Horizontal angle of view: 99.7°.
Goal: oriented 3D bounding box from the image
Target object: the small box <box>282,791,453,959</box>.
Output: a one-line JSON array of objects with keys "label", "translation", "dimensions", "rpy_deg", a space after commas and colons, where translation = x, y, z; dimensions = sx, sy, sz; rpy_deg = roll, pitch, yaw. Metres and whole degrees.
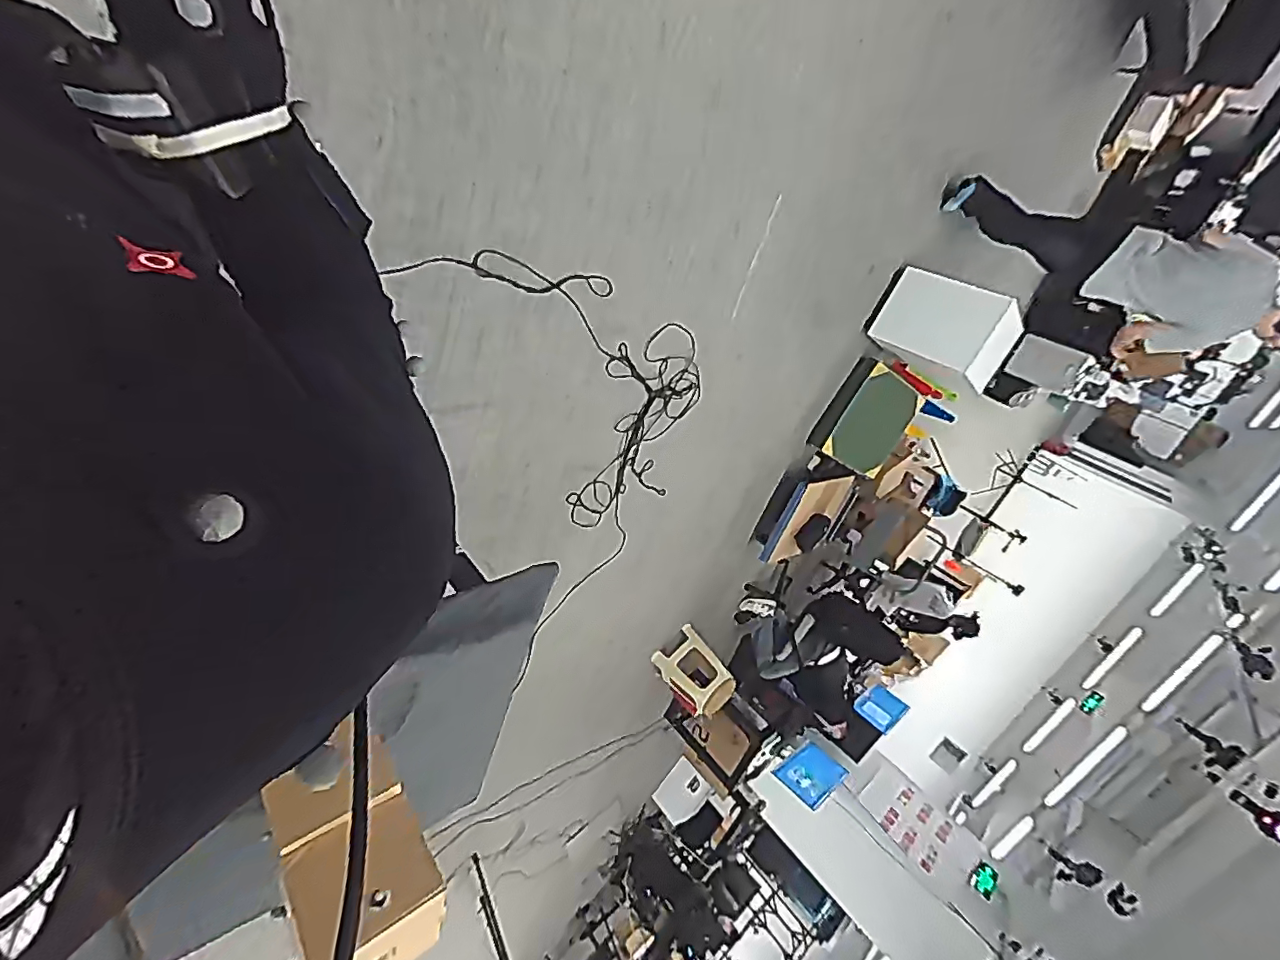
[{"label": "small box", "translation": [-0.401, 0.607, 0.796], "dimensions": [0.179, 0.176, 0.168], "rpy_deg": [-12, 128, -42]}]

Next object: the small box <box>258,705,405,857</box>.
[{"label": "small box", "translation": [-0.499, 0.510, 0.883], "dimensions": [0.168, 0.176, 0.179], "rpy_deg": [-17, 132, -40]}]
